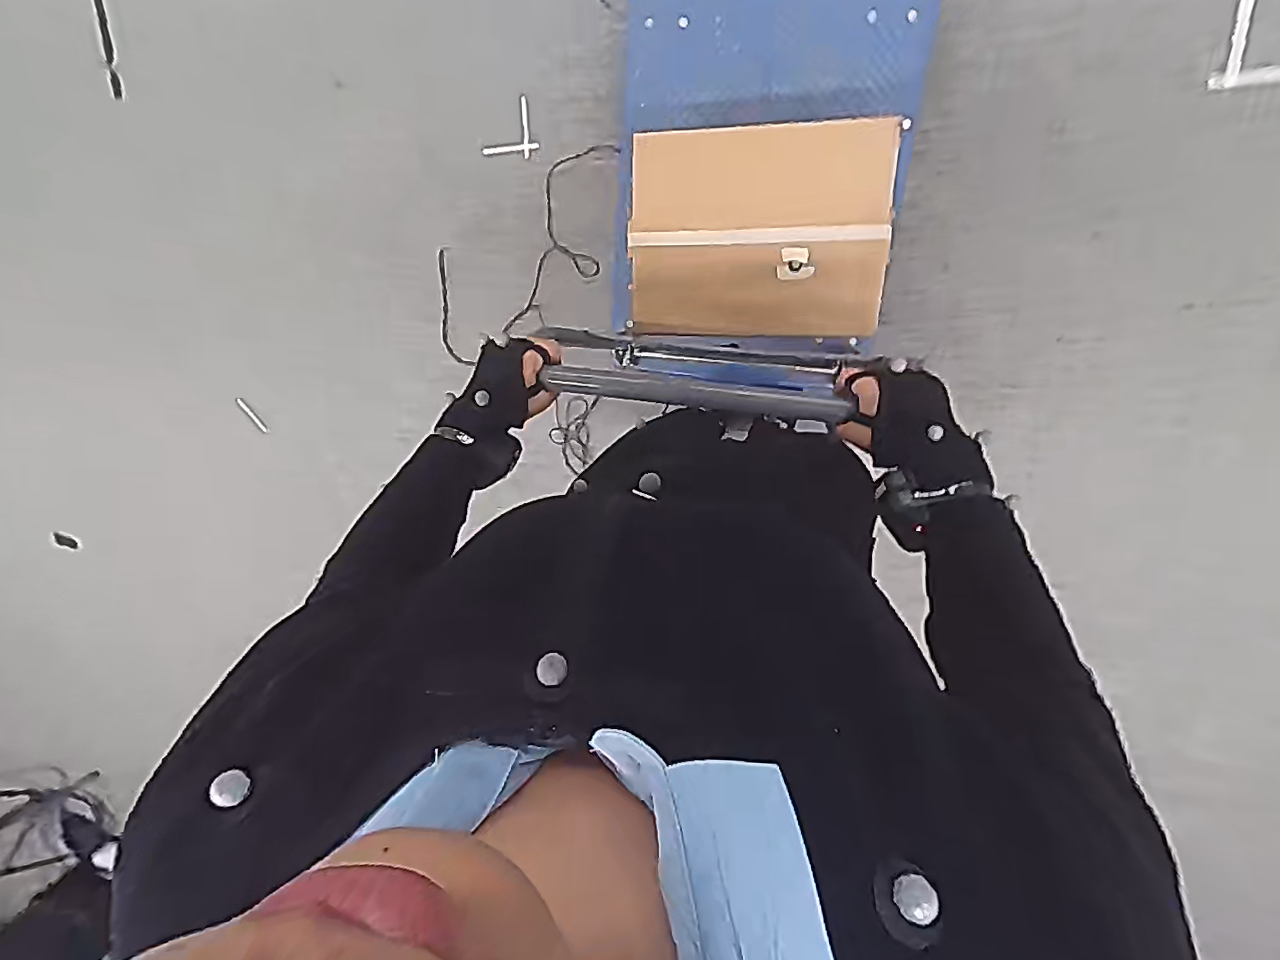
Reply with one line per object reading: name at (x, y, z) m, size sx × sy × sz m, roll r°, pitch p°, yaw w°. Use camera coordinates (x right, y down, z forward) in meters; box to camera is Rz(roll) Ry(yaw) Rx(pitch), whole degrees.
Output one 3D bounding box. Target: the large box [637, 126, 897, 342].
large box at (0.217, -0.426, 1.020) m, size 0.408 × 0.320 × 0.320 m, roll 3°, pitch 107°, yaw 11°
